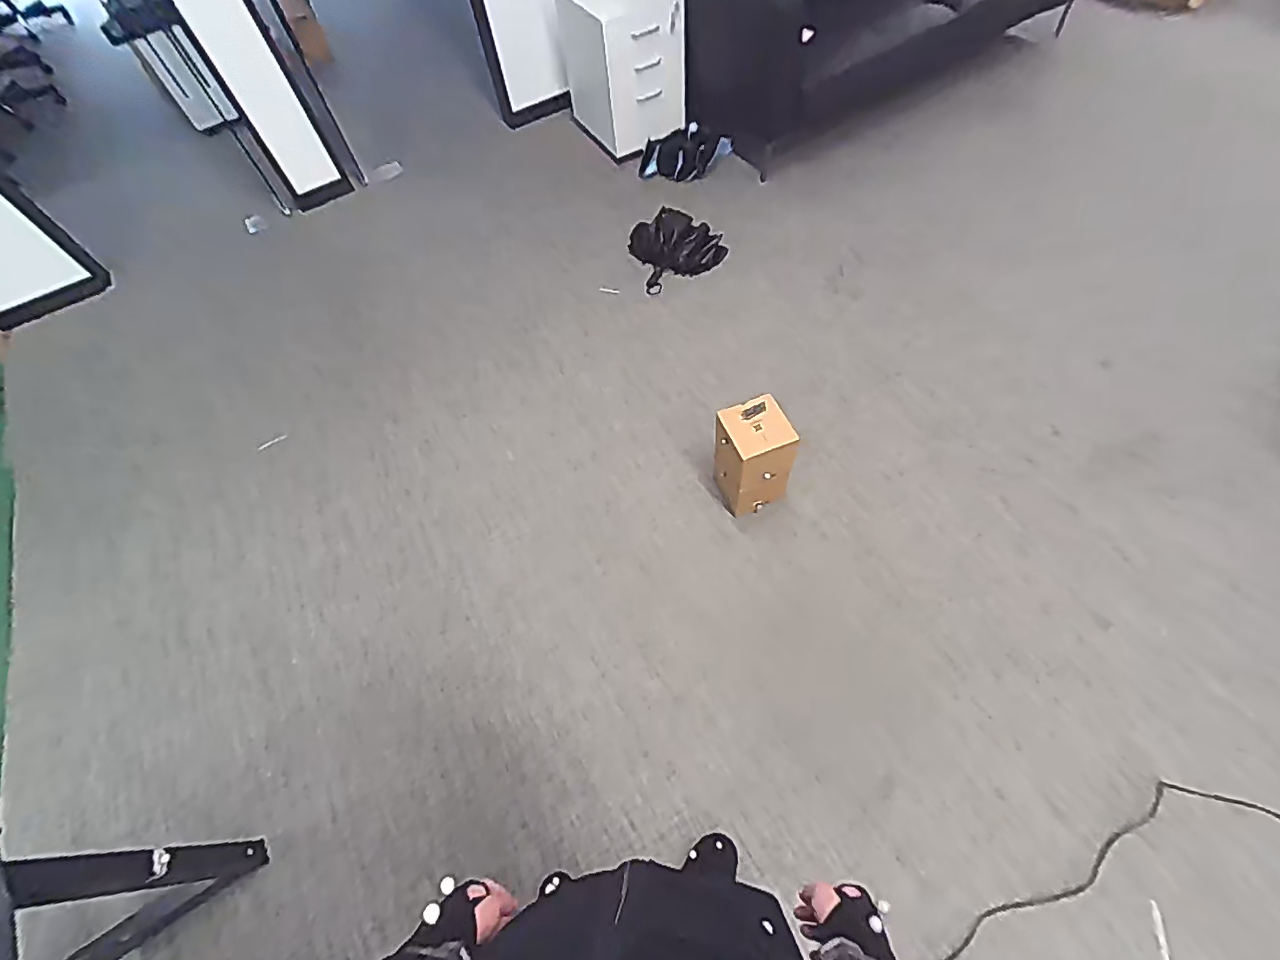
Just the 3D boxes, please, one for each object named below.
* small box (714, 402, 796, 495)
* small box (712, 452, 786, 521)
[{"bbox_3d":[0.317,-0.086,1.539,0.168,0.176,0.179,-20,60,-6],"label":"small box"},{"bbox_3d":[0.329,0.000,1.679,0.168,0.176,0.179,-21,60,-6],"label":"small box"}]
